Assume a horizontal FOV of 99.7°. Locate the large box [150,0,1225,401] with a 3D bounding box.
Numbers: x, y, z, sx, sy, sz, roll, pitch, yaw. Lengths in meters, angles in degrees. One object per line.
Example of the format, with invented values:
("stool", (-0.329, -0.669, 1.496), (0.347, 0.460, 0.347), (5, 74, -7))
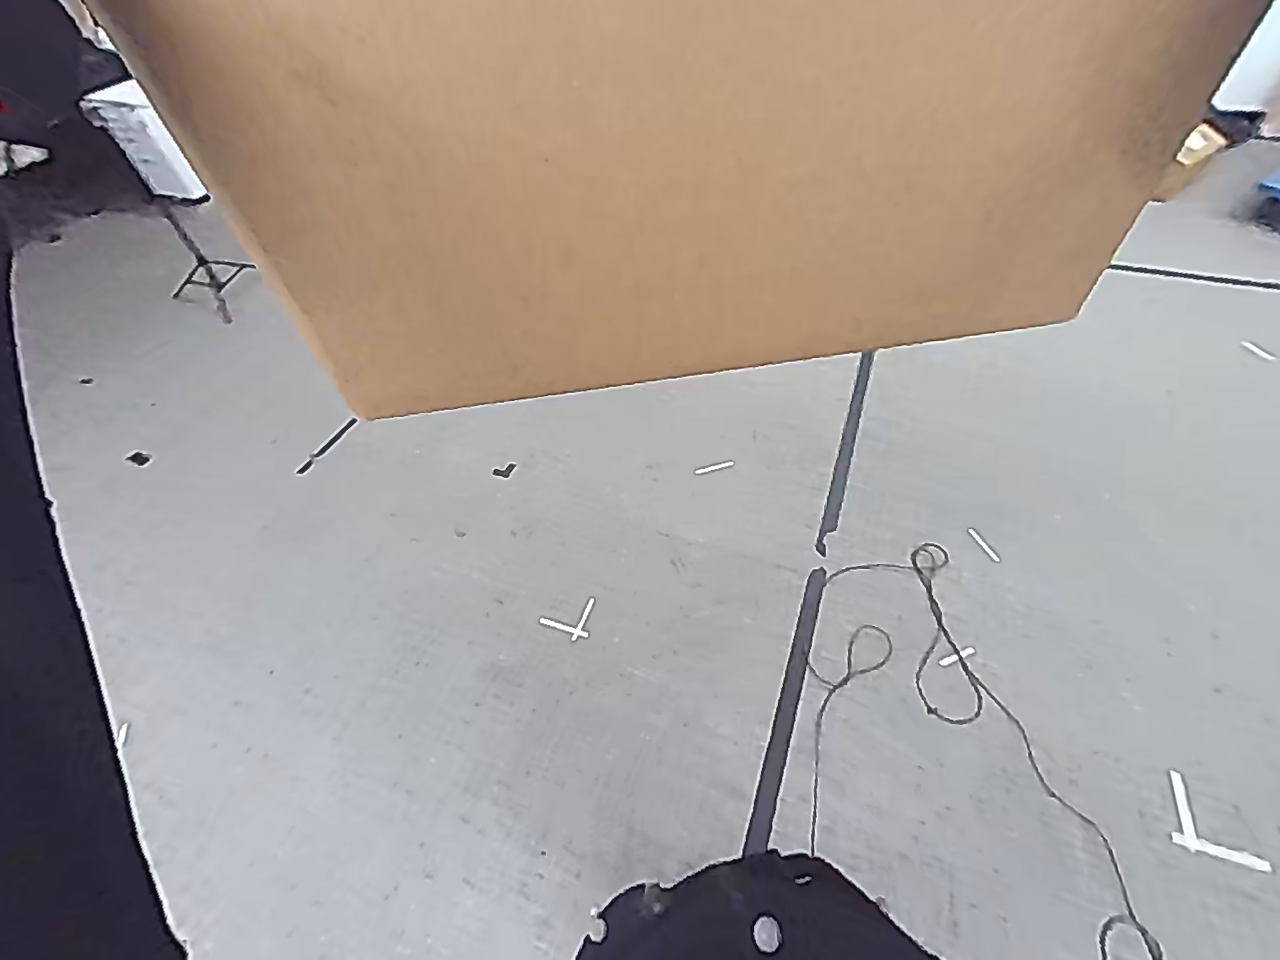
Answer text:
("large box", (0.017, -0.276, 0.293), (0.408, 0.320, 0.320), (-8, 50, -3))
